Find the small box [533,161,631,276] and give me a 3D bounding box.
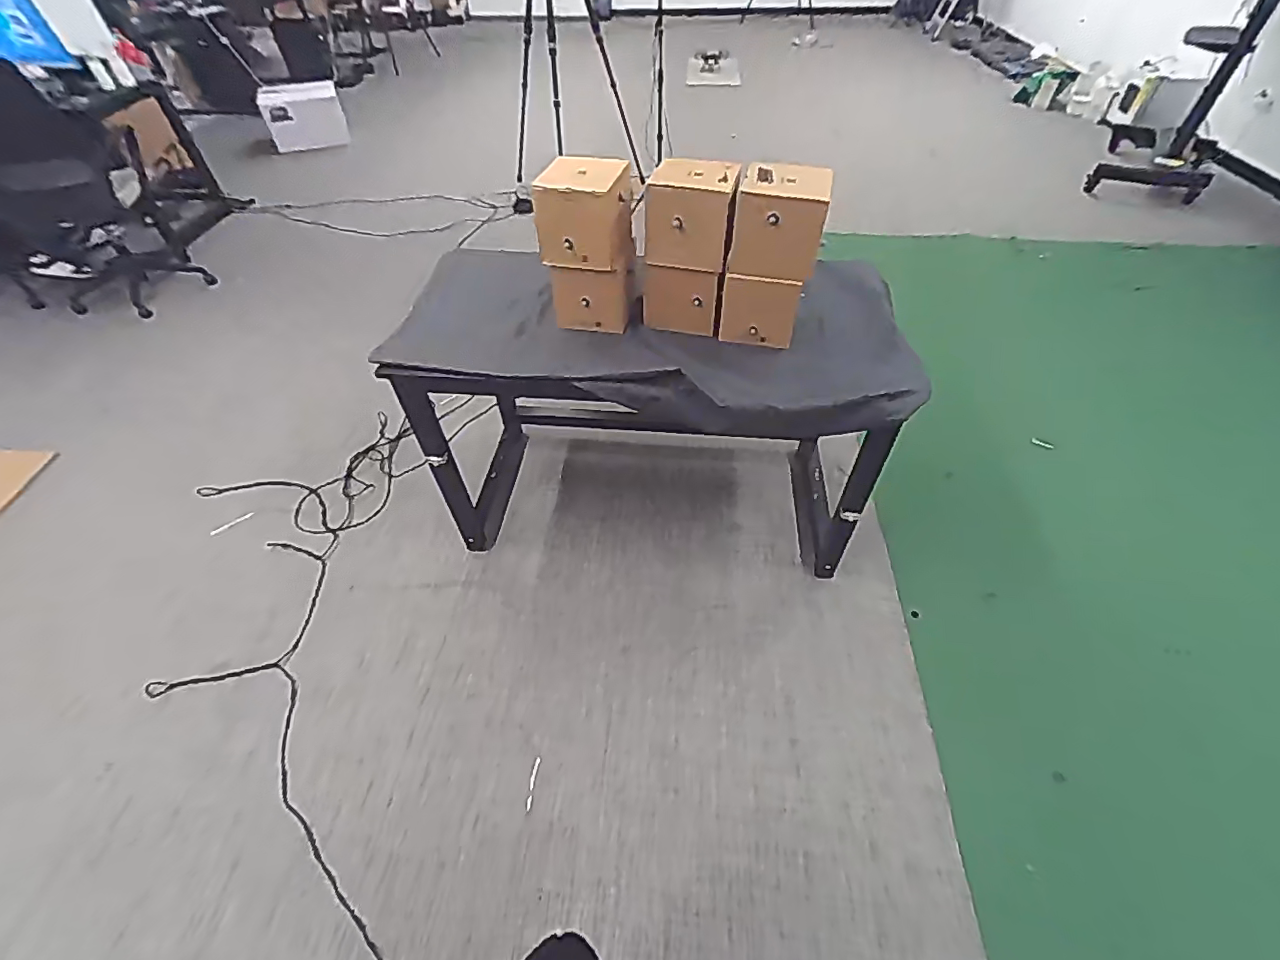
[{"bbox_3d":[-0.120,-0.580,1.199,0.168,0.176,0.179,10,51,11],"label":"small box"}]
